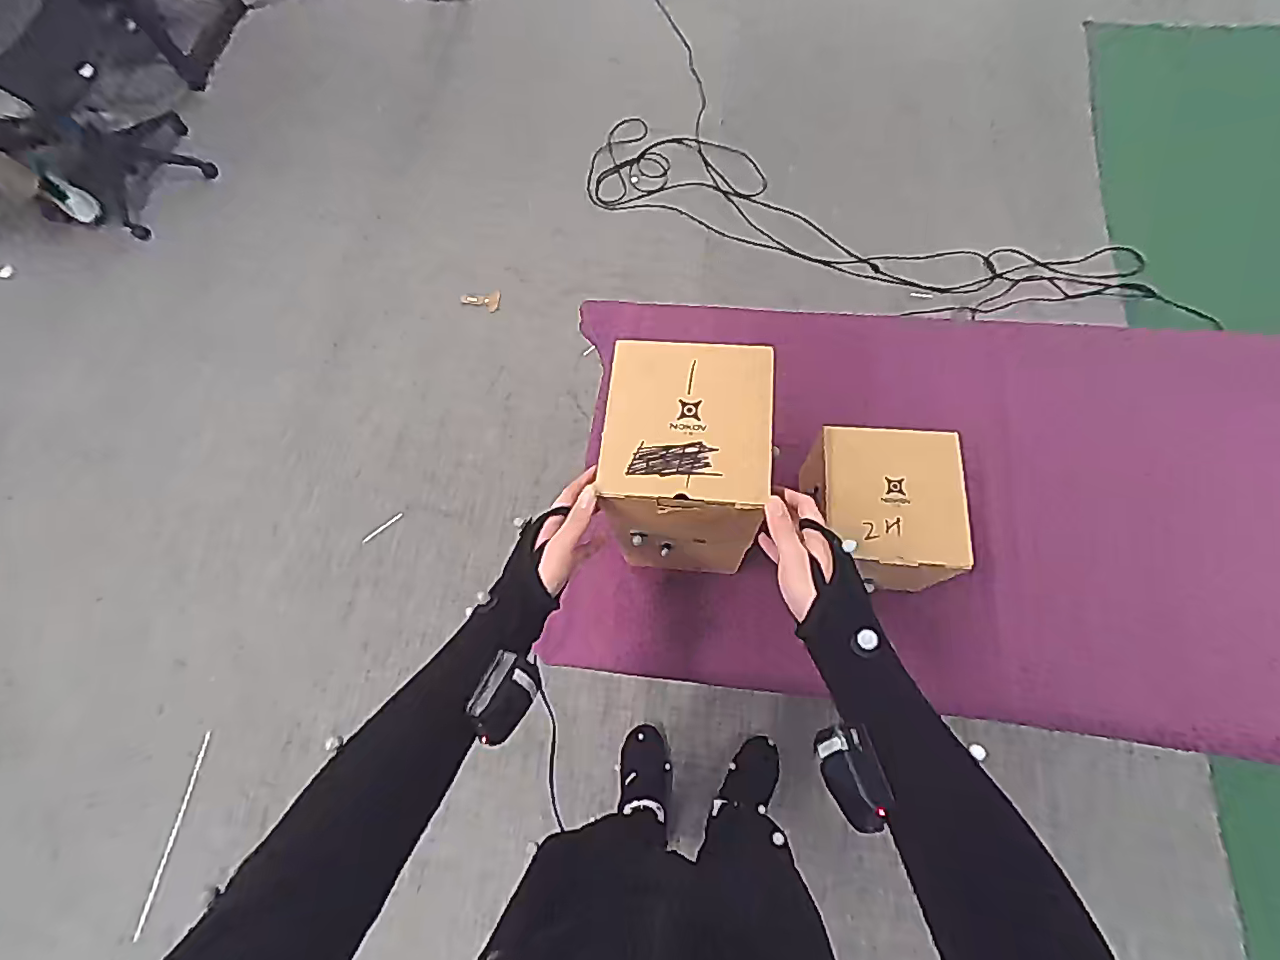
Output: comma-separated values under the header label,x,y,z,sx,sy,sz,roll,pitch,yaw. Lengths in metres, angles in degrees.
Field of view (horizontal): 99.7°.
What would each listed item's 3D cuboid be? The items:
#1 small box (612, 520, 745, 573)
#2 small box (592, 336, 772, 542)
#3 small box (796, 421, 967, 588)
label,x,y,z,sx,sy,sz,roll,pitch,yaw
small box,0.061,0.021,0.757,0.168,0.176,0.179,4,69,7
small box,0.050,-0.036,0.604,0.168,0.176,0.179,4,69,6
small box,0.310,0.040,0.731,0.168,0.176,0.179,4,70,6
